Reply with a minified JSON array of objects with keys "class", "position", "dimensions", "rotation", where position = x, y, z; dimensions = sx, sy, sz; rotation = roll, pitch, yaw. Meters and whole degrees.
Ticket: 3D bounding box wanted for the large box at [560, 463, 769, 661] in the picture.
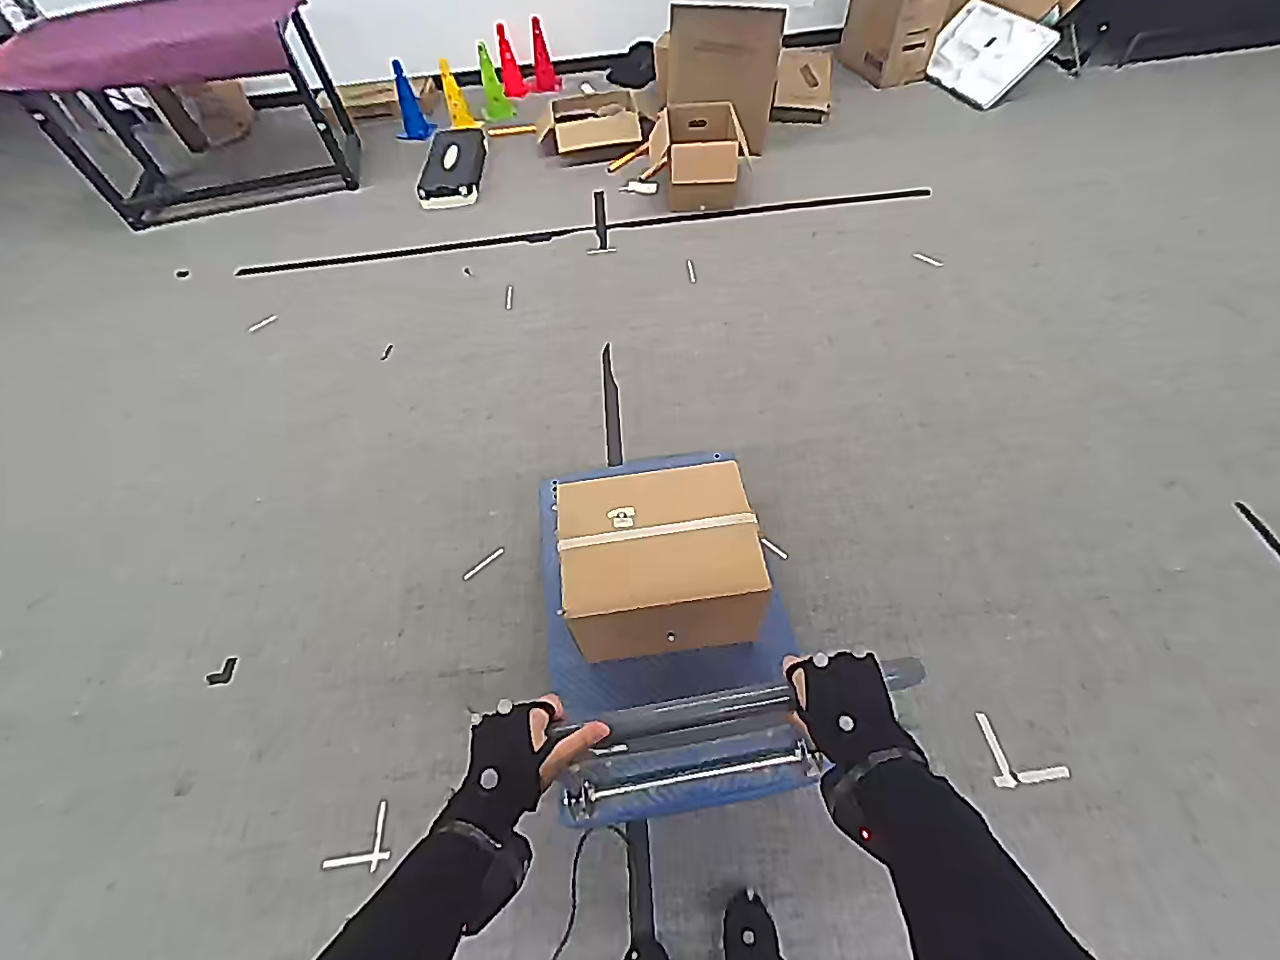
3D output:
[{"class":"large box","position":[0.049,0.199,1.253],"dimensions":[0.408,0.320,0.320],"rotation":[-9,55,-1]}]
